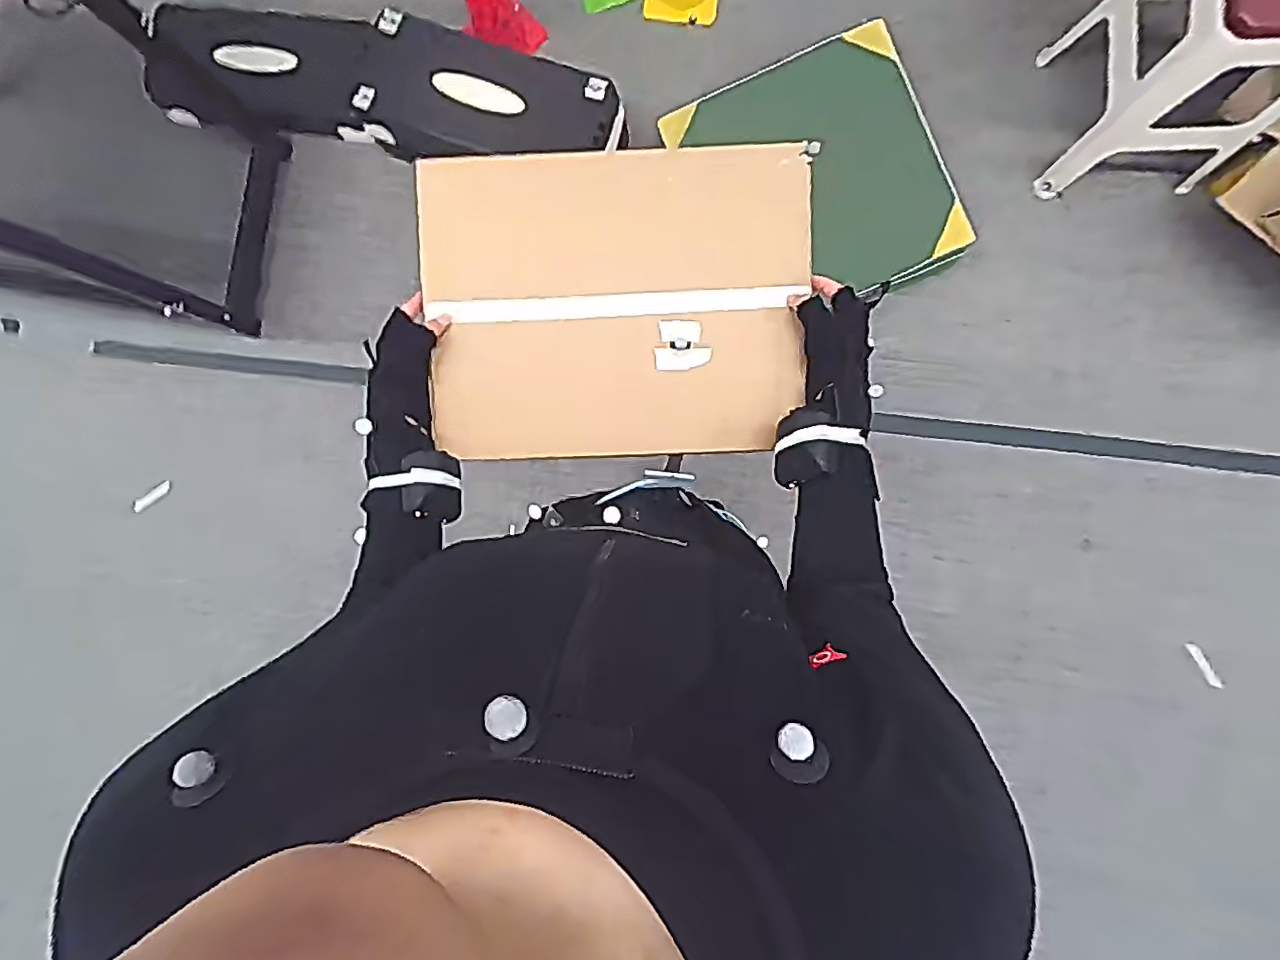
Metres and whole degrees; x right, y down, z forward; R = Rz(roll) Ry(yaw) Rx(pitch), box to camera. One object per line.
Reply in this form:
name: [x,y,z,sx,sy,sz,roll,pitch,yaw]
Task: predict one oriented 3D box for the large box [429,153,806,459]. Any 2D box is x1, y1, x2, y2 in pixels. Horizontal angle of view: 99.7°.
large box: [-0.023,-0.194,0.731,0.408,0.320,0.320,-2,94,1]
